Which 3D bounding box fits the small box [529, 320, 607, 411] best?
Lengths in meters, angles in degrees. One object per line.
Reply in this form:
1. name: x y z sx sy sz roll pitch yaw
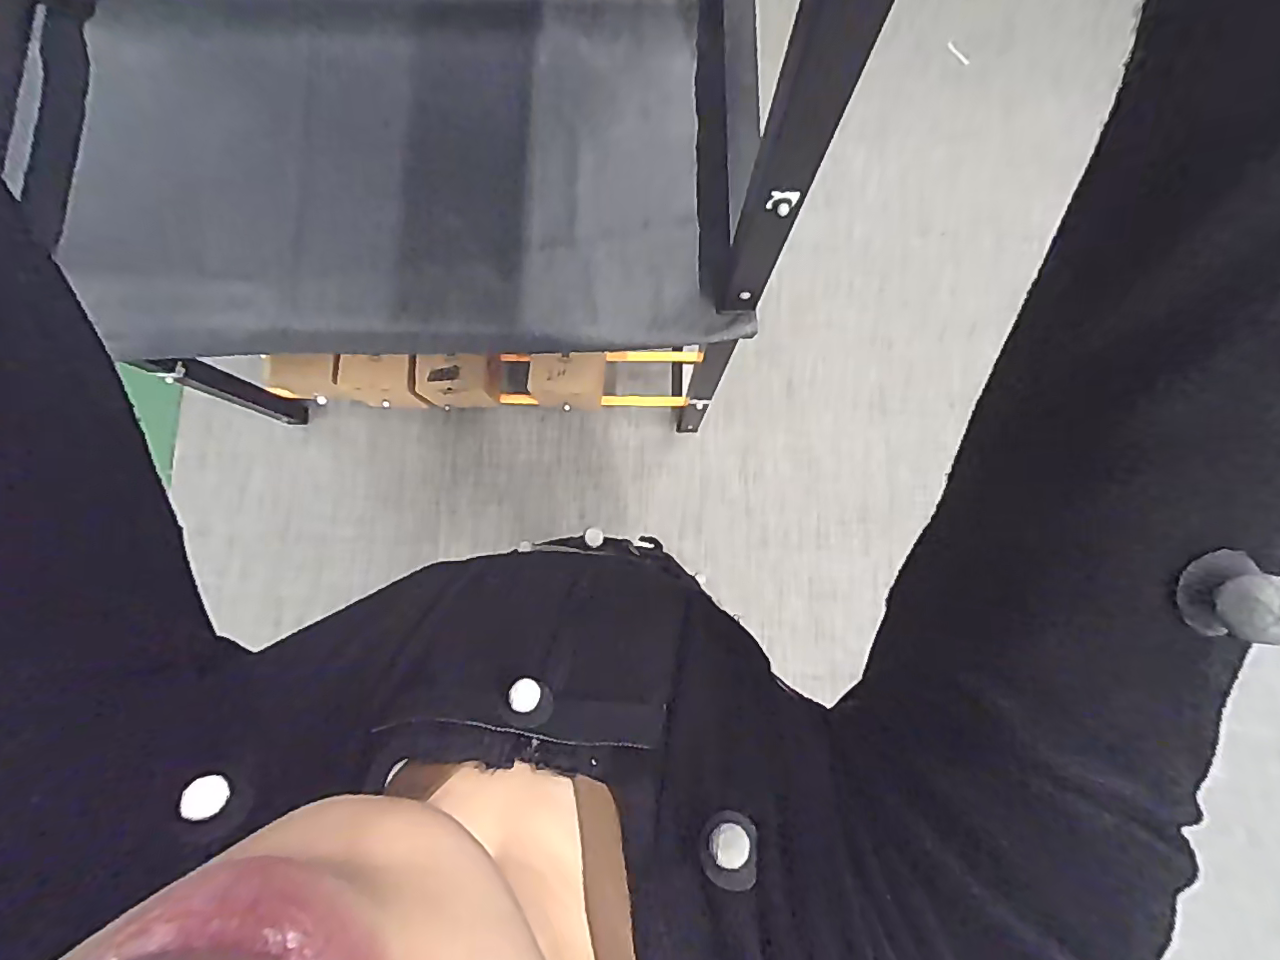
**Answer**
1. small box: -0.178 -0.289 1.392 0.168 0.176 0.179 6 84 2
